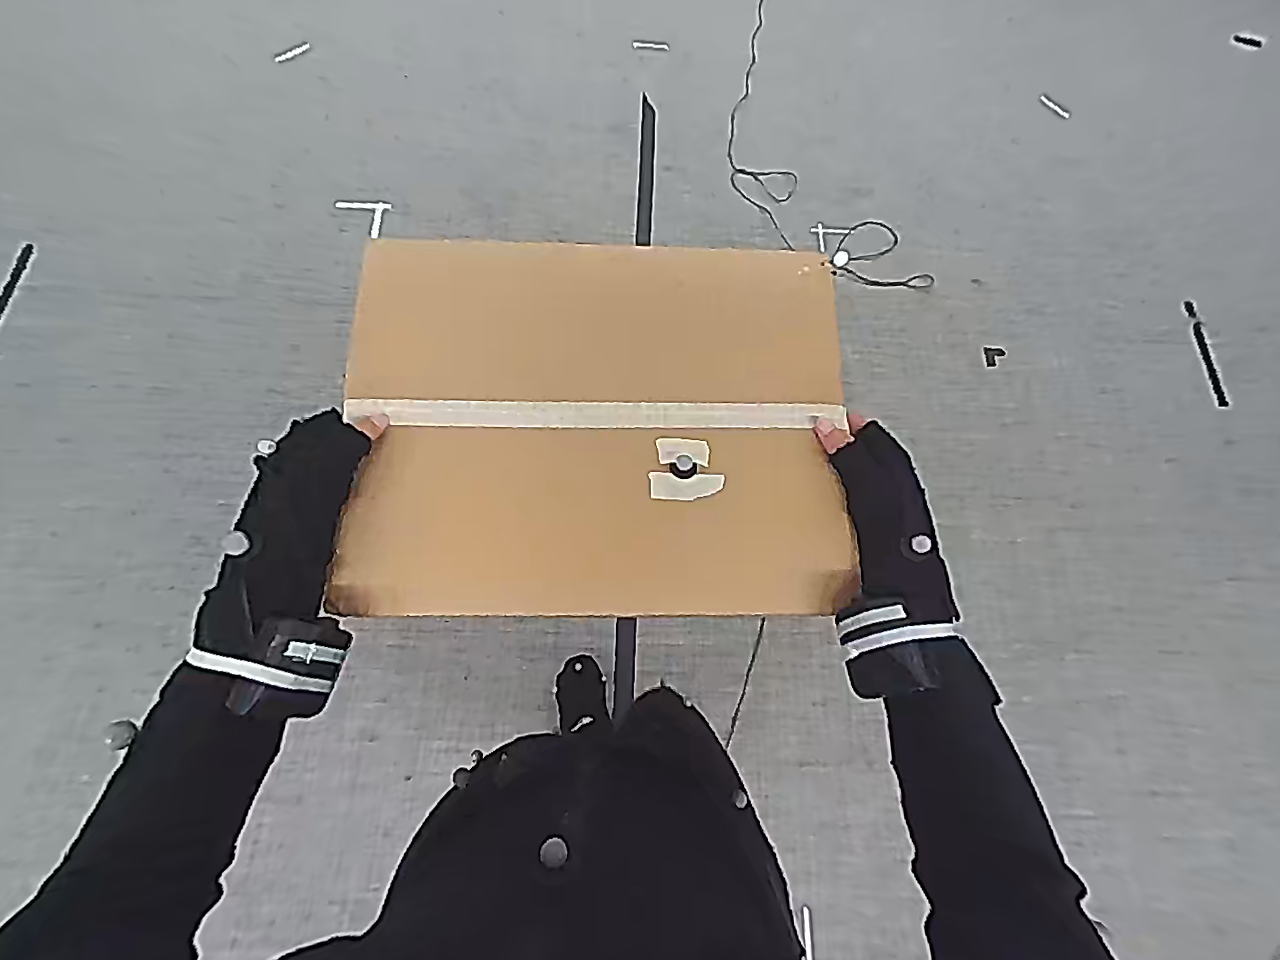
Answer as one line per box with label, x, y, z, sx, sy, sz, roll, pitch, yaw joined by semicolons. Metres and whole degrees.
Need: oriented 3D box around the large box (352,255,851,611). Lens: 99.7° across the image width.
large box;-0.037;-0.020;0.602;0.408;0.320;0.320;0;78;-3
